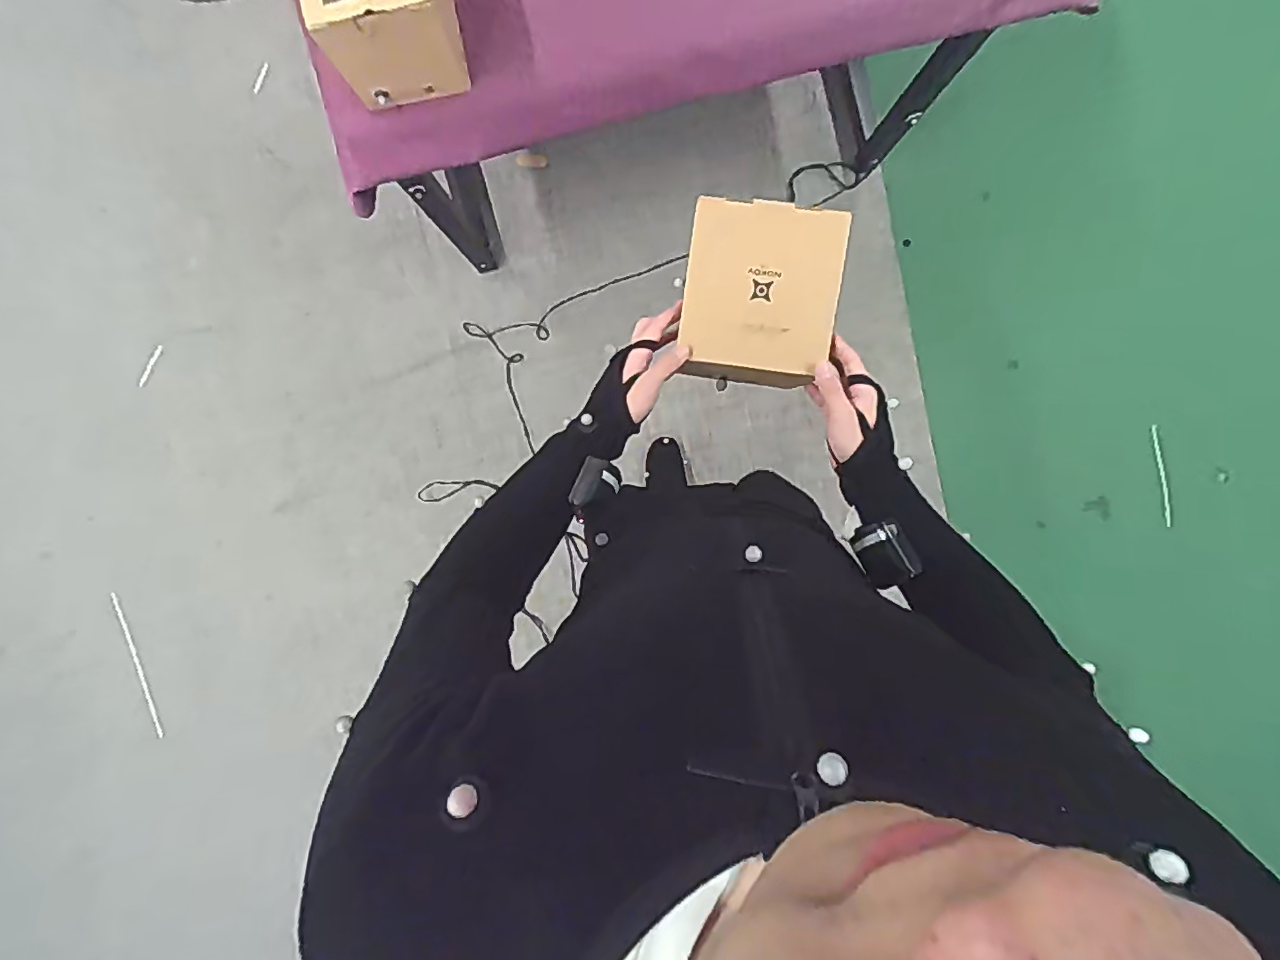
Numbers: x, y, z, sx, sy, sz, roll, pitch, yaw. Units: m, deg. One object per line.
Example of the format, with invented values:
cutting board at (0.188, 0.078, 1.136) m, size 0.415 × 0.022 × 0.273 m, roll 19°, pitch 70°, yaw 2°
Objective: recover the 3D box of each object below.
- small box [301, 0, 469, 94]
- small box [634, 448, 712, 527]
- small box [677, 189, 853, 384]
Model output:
small box at (-0.353, -0.675, 0.748) m, size 0.168 × 0.176 × 0.179 m, roll -12°, pitch 93°, yaw 0°
small box at (0.094, 0.021, 1.565) m, size 0.179 × 0.176 × 0.168 m, roll 35°, pitch 93°, yaw 5°
small box at (0.137, -0.220, 0.656) m, size 0.168 × 0.176 × 0.179 m, roll 8°, pitch 96°, yaw 3°
